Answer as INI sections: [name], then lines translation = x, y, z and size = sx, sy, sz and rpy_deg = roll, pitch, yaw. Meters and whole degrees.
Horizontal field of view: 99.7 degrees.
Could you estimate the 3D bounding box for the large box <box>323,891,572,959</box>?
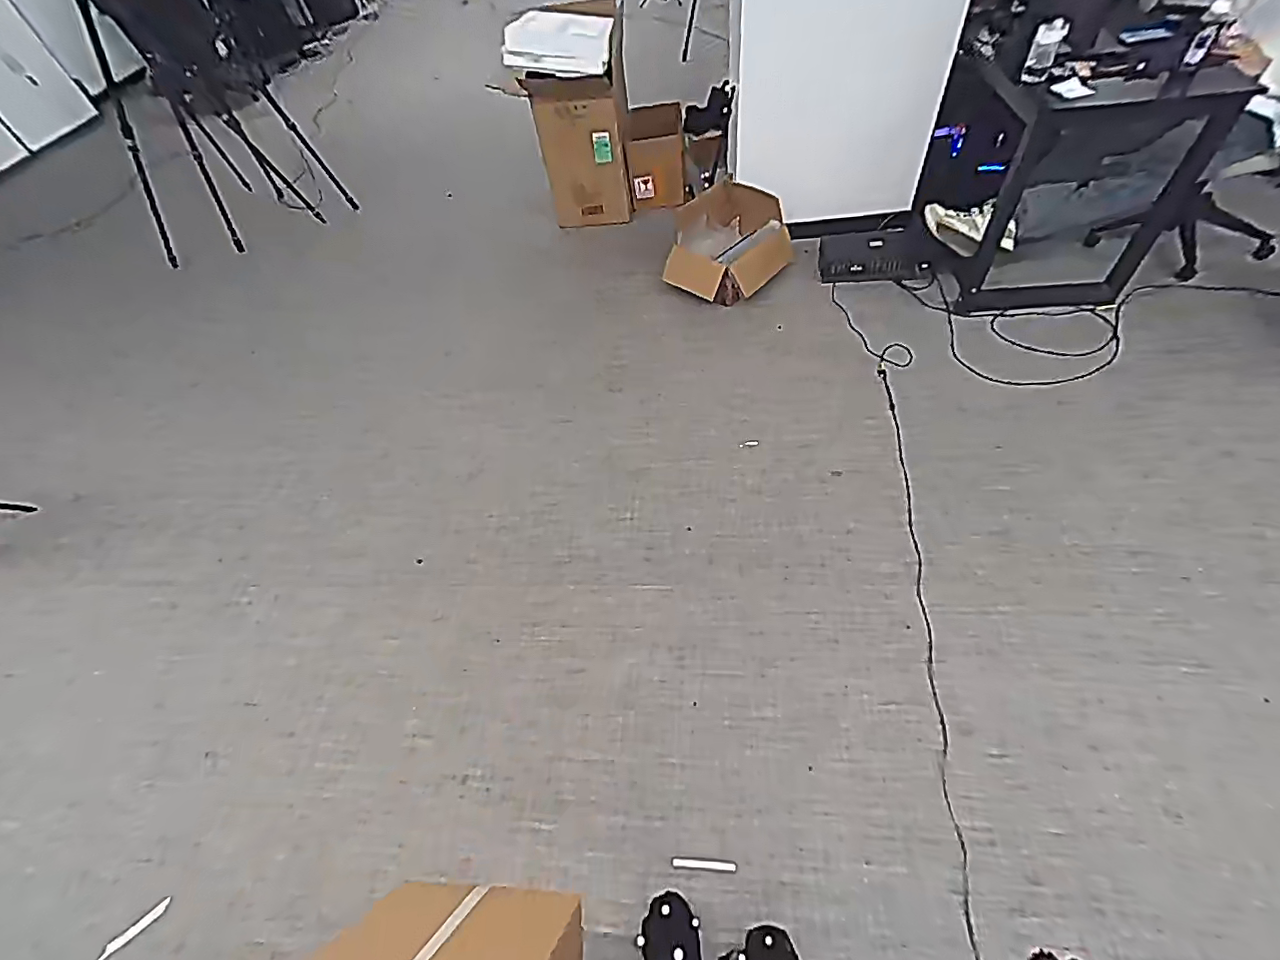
[large box]
translation = -0.280, 0.776, 0.639
size = 0.320, 0.408, 0.320
rpy_deg = -6, 79, 10
